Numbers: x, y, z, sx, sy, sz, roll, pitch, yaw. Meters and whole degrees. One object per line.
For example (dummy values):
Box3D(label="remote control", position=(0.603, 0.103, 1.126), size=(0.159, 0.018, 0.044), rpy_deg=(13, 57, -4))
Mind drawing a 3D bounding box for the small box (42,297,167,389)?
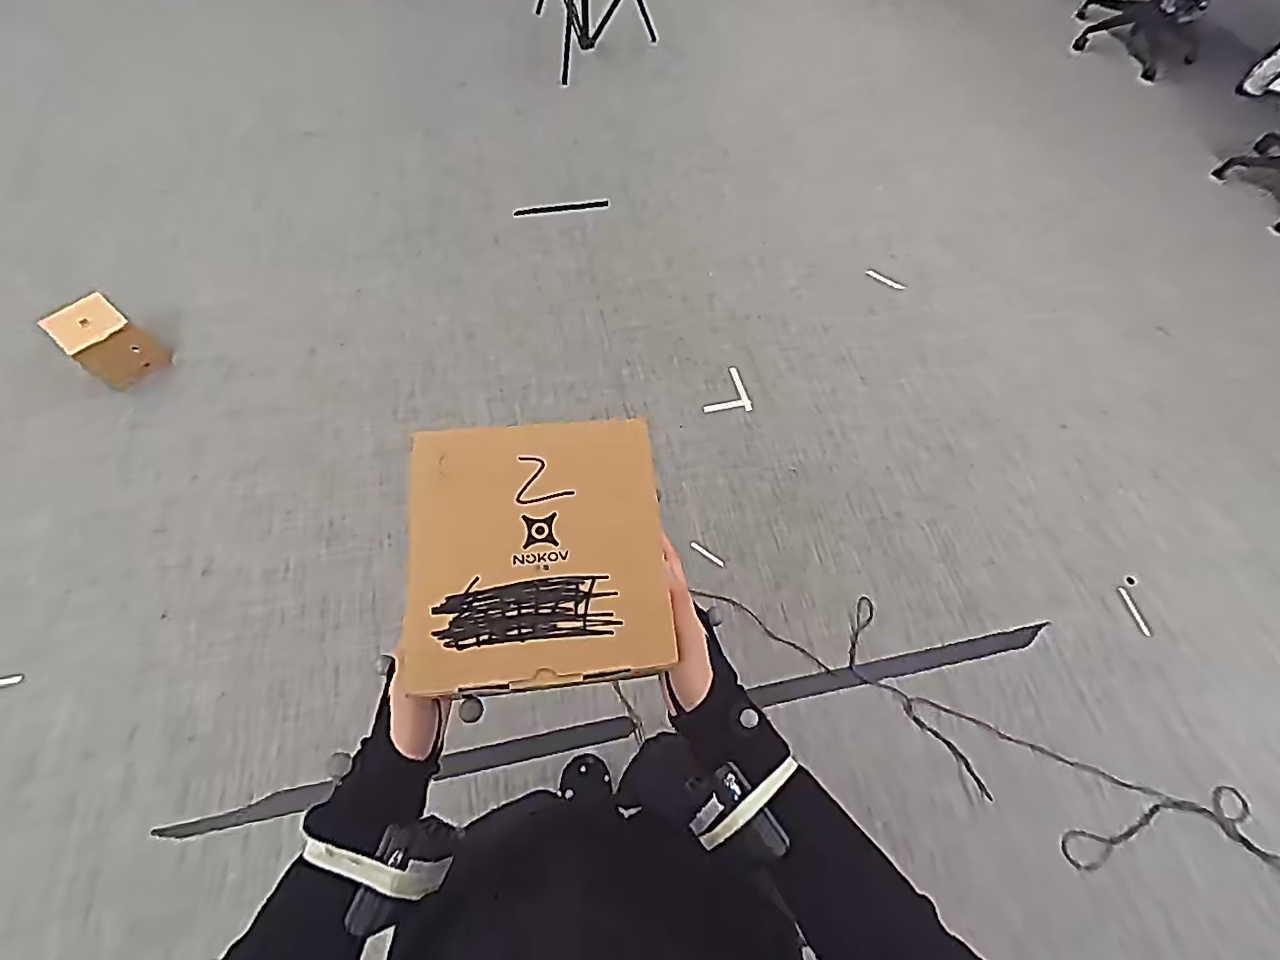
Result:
Box3D(label="small box", position=(-1.560, -0.392, 1.589), size=(0.179, 0.176, 0.168), rpy_deg=(37, 66, 15))
